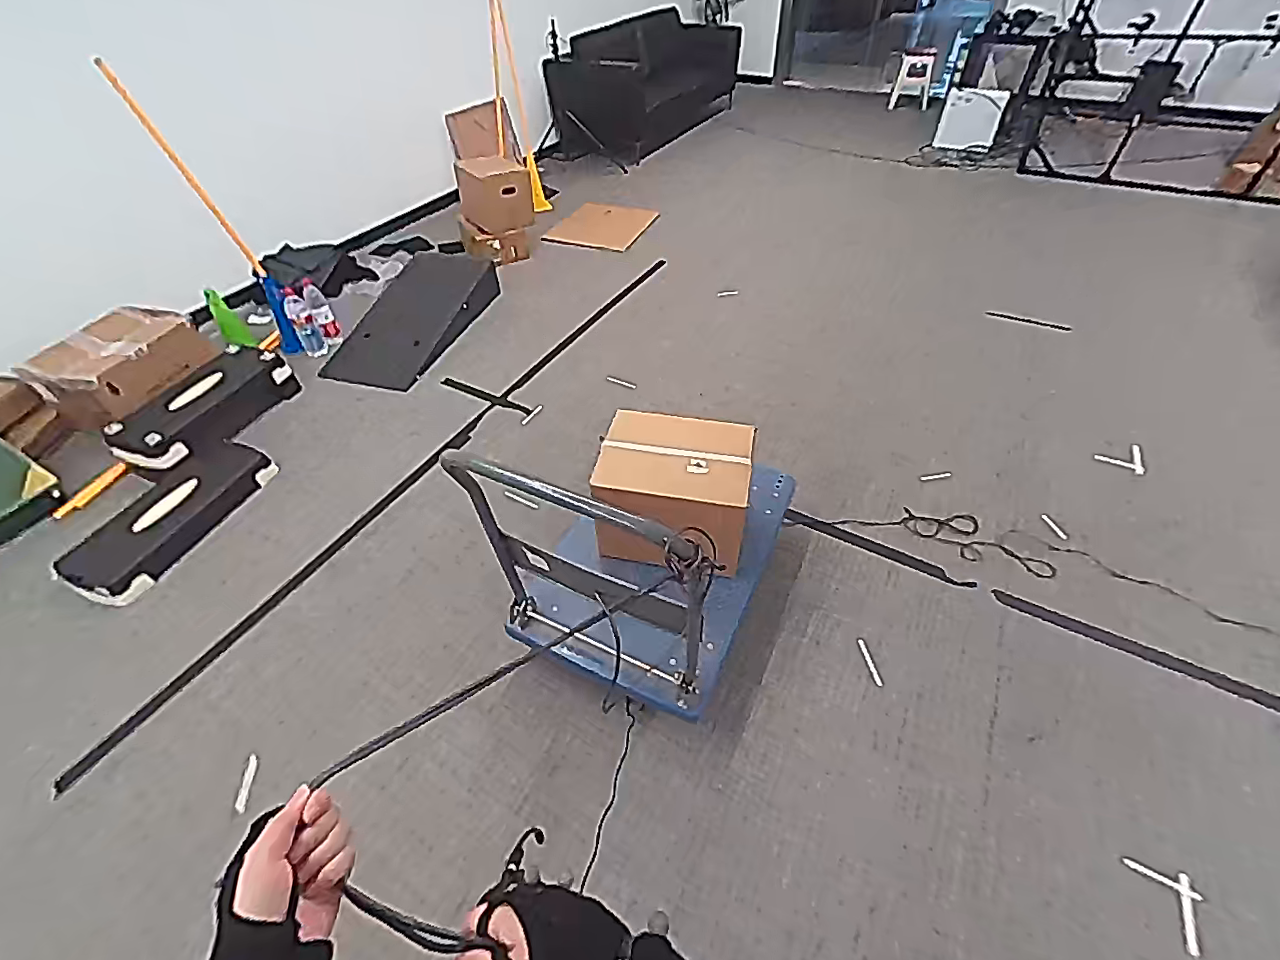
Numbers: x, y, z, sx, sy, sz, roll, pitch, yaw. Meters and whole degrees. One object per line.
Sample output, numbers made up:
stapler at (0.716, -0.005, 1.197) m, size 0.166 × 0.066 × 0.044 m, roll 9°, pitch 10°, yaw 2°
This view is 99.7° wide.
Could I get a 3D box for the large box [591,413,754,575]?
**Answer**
large box at (0.097, 0.039, 1.556) m, size 0.408 × 0.320 × 0.320 m, roll 9°, pitch 48°, yaw 9°
